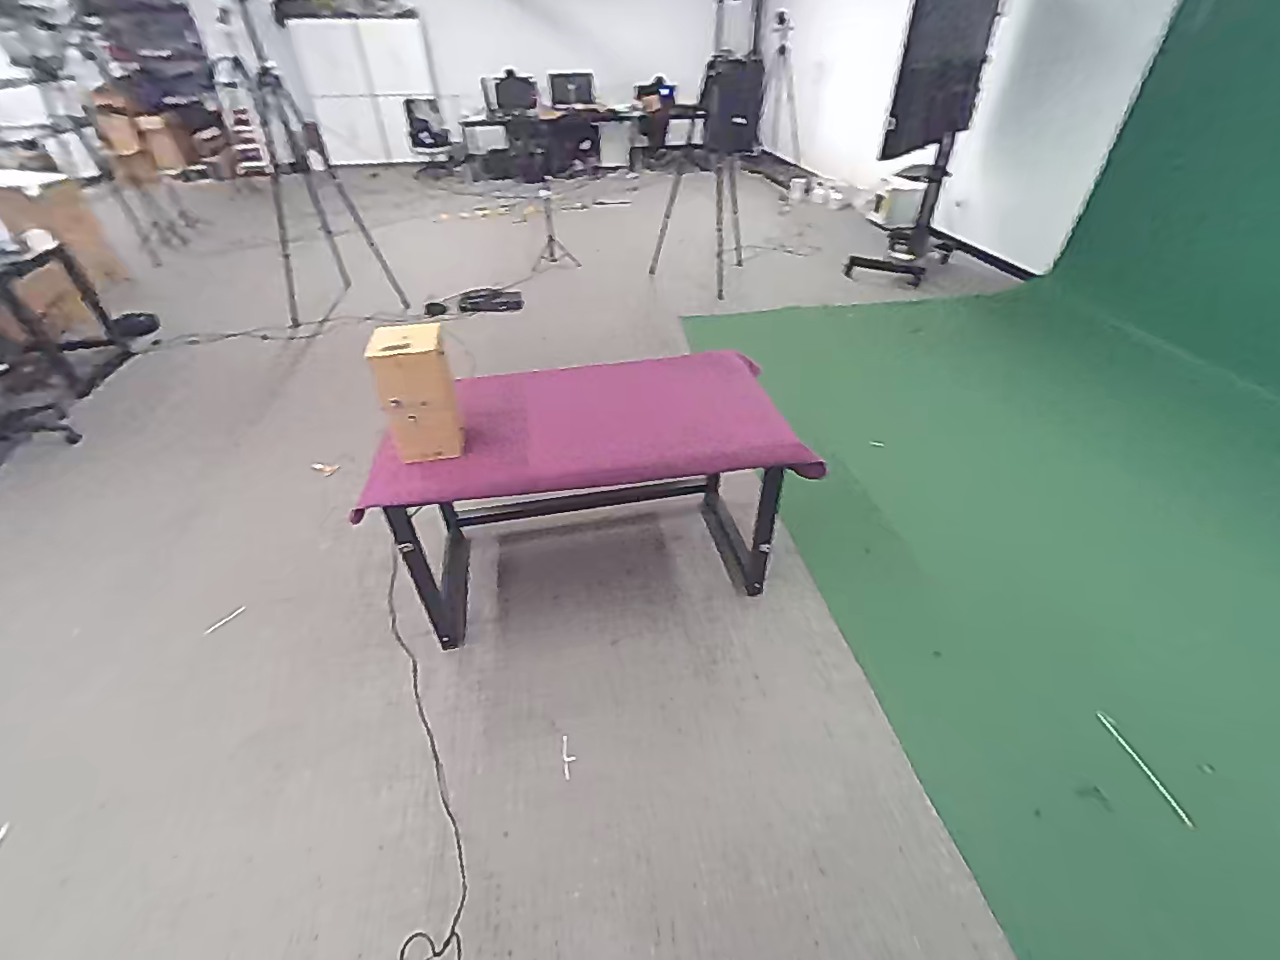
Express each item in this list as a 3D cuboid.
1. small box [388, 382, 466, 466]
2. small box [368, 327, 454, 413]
[{"bbox_3d":[-0.601,-0.163,1.549,0.168,0.176,0.179,-8,39,-8],"label":"small box"},{"bbox_3d":[-0.601,-0.290,1.444,0.168,0.176,0.179,-8,39,-9],"label":"small box"}]
